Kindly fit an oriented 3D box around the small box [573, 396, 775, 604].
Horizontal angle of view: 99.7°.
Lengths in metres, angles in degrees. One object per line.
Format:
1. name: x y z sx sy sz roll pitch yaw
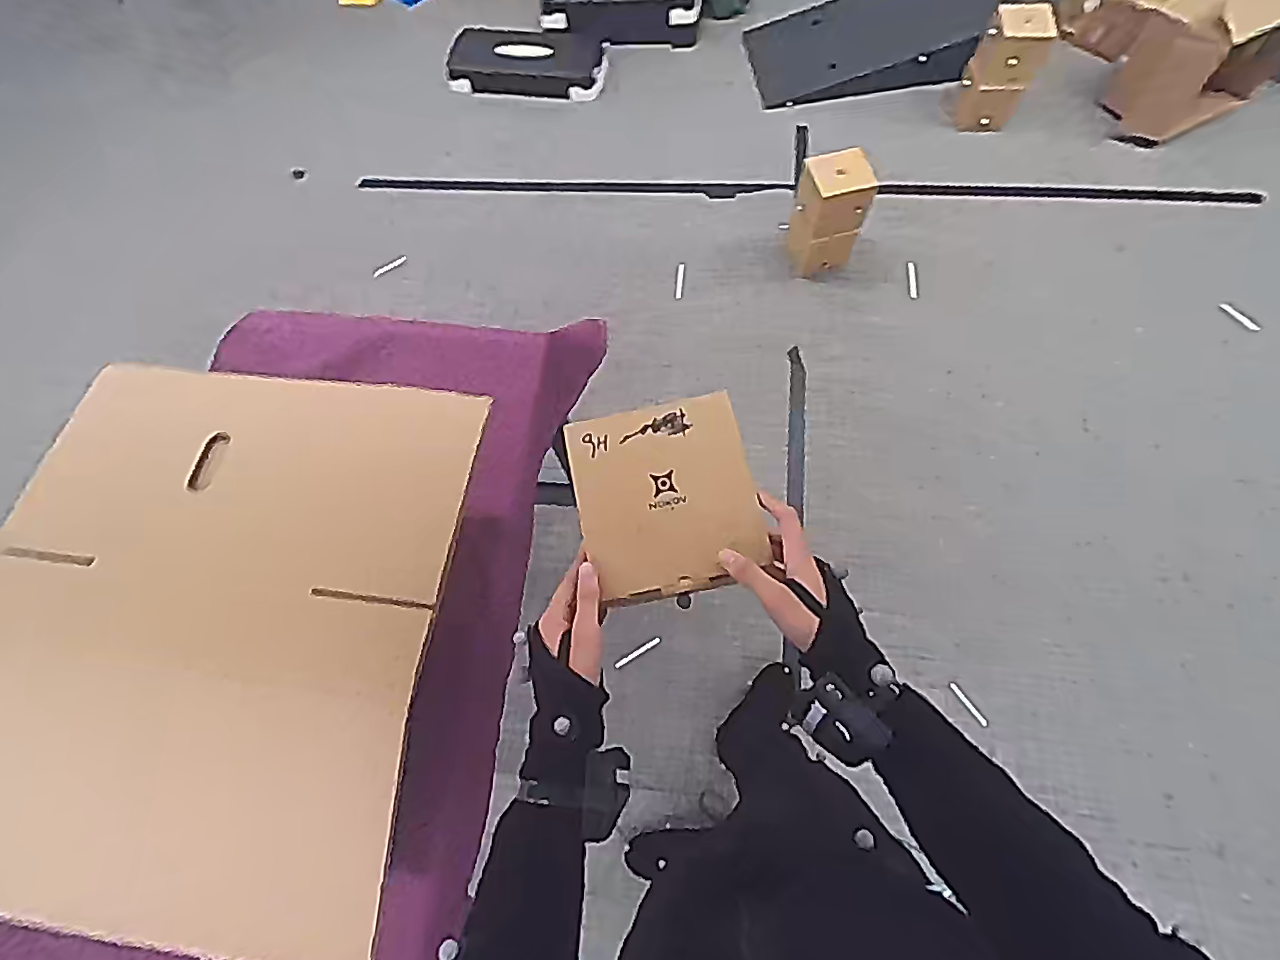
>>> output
1. small box: 0.033 0.033 0.587 0.168 0.176 0.179 -11 76 -1
